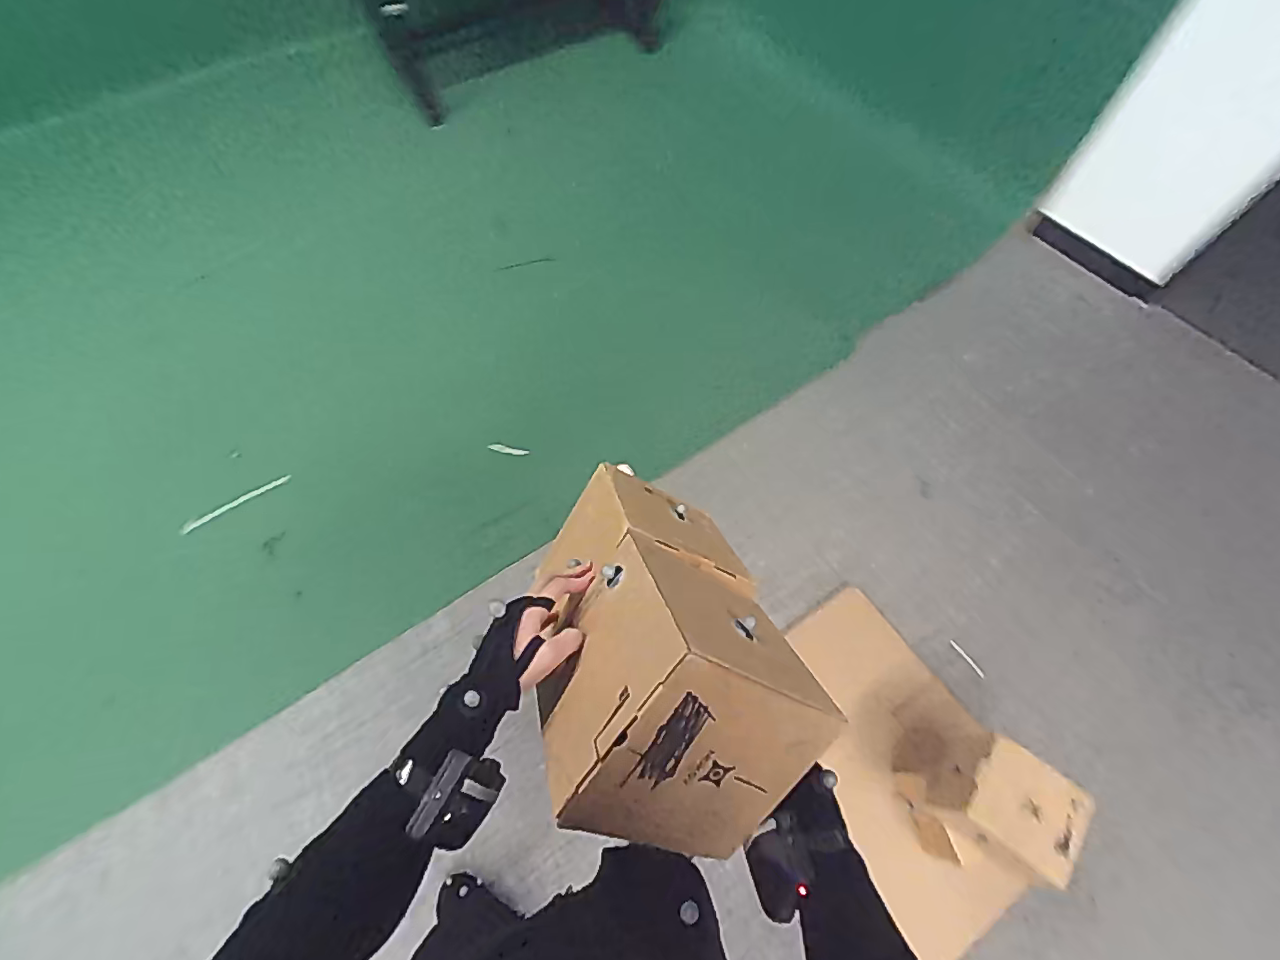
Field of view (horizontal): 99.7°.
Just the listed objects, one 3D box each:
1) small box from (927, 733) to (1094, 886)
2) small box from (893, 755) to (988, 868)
[{"bbox_3d":[0.679,0.608,1.013,0.179,0.176,0.168,35,68,18],"label":"small box"},{"bbox_3d":[0.681,0.693,1.153,0.179,0.176,0.168,-13,64,-5],"label":"small box"}]
